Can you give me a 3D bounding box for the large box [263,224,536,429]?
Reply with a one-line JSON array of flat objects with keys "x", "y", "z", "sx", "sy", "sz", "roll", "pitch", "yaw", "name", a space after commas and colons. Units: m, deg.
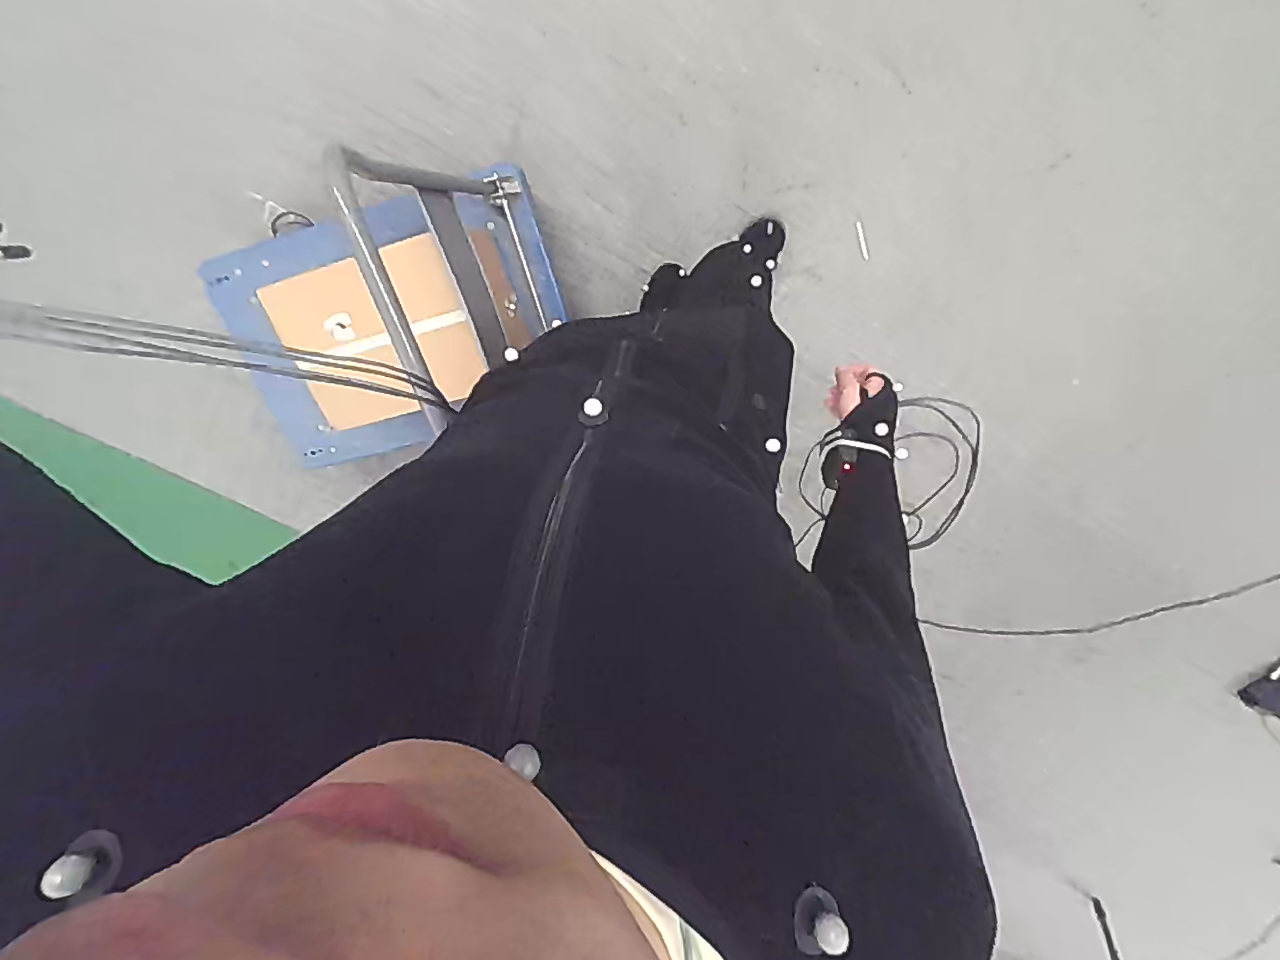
[{"x": -0.501, "y": -0.354, "z": 1.217, "sx": 0.408, "sy": 0.320, "sz": 0.320, "roll": -12, "pitch": 114, "yaw": 11, "name": "large box"}]
